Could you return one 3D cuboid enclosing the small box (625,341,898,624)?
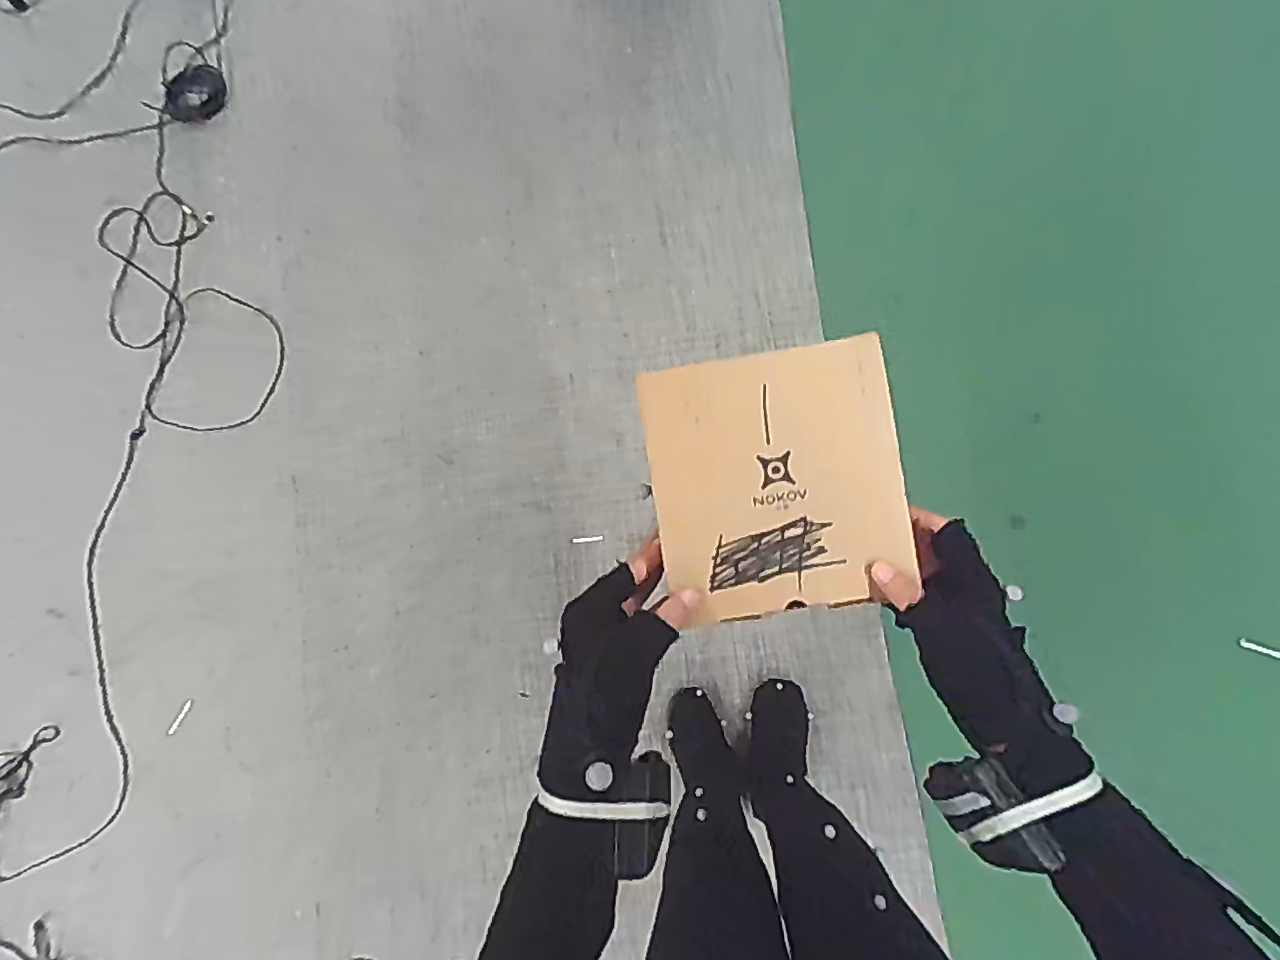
[{"bbox_3d":[0.087,0.003,0.446,0.168,0.176,0.179,-9,89,3],"label":"small box"}]
